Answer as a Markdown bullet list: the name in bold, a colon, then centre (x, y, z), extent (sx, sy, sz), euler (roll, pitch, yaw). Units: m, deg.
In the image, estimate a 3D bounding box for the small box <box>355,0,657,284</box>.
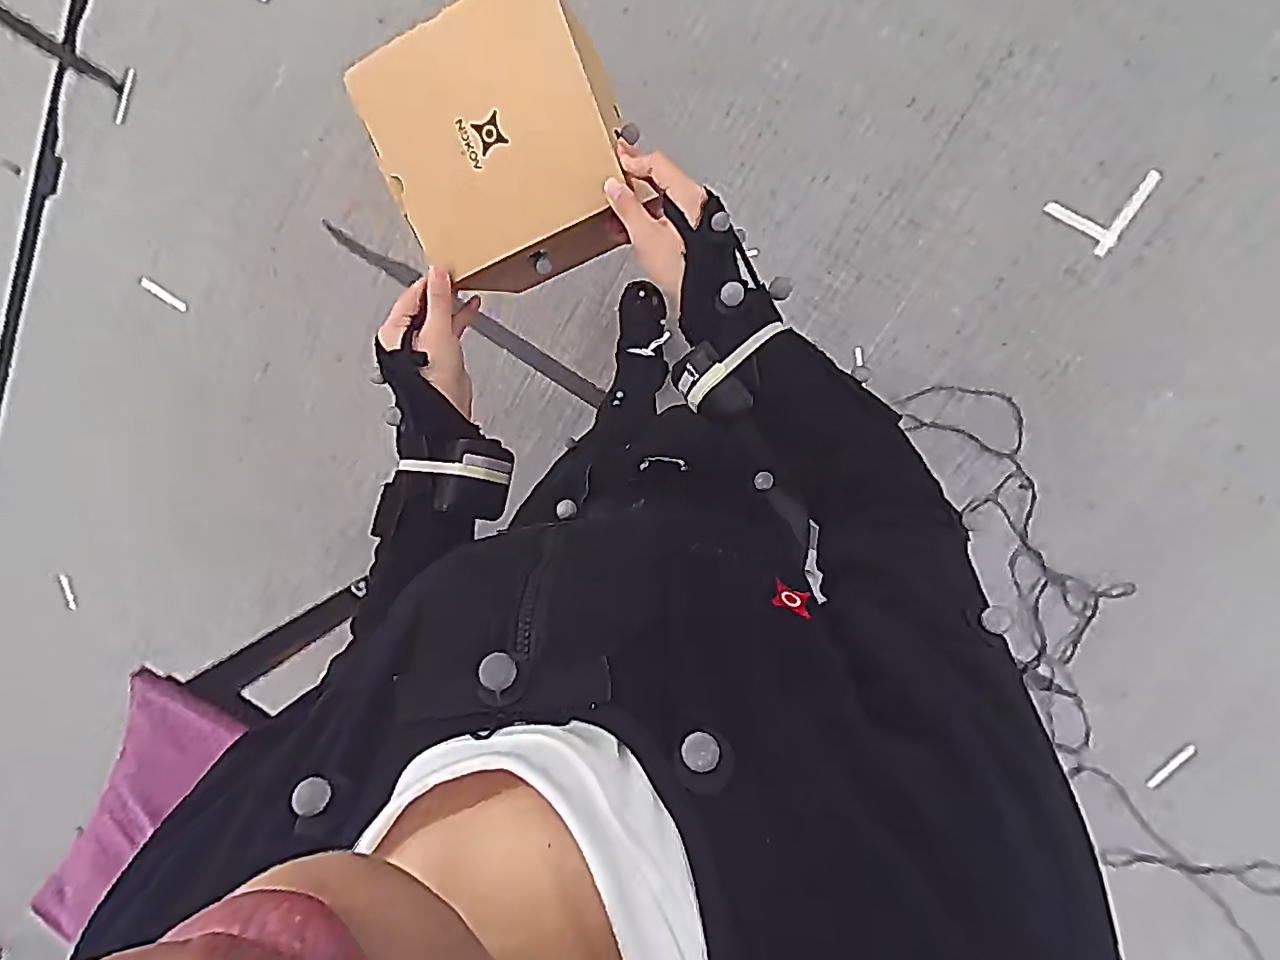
- **small box**: centre (-0.093, -0.284, 0.472), extent (0.179, 0.176, 0.168), euler (-17, 104, 16)
